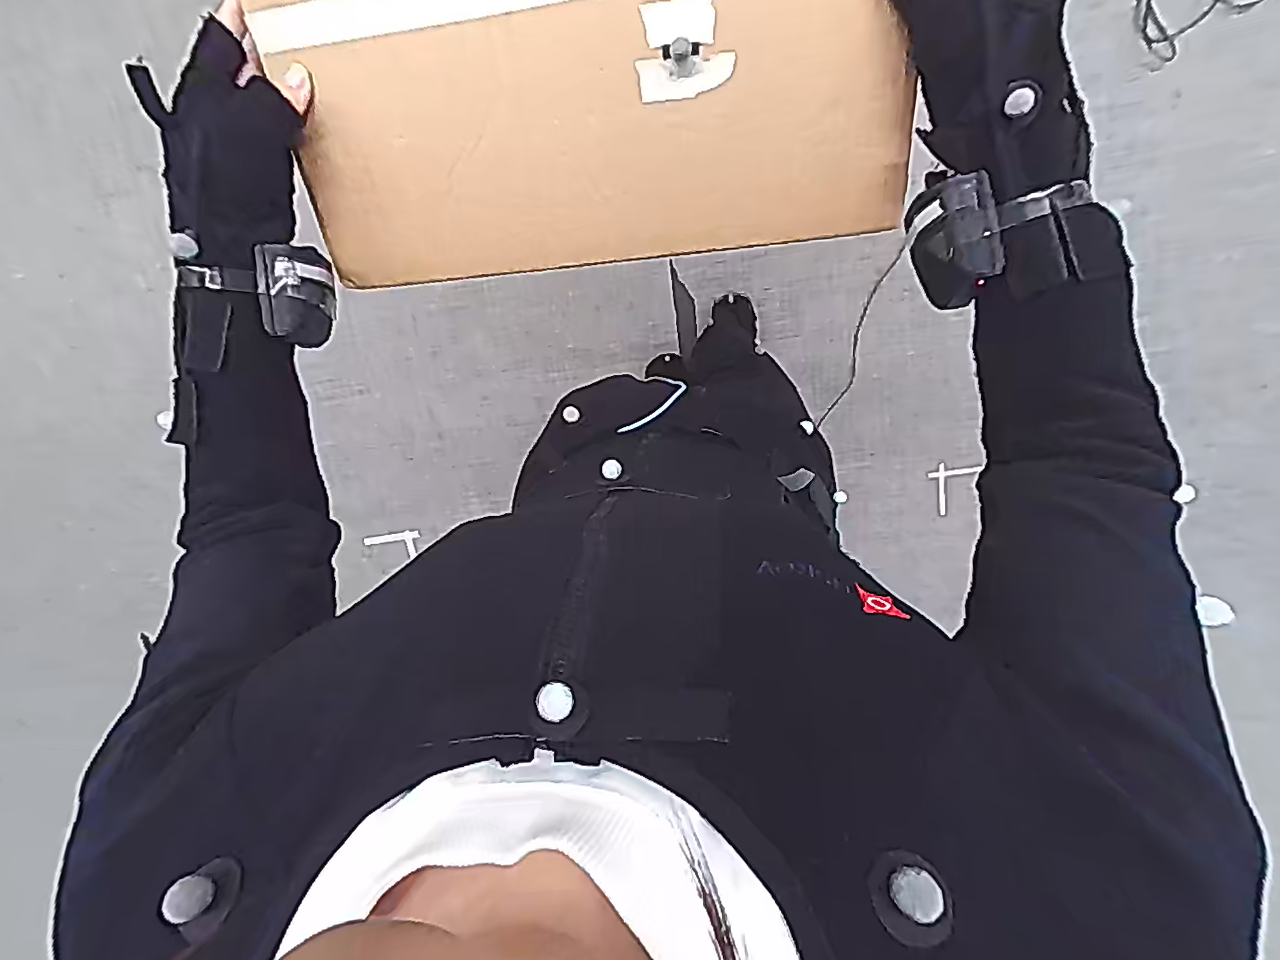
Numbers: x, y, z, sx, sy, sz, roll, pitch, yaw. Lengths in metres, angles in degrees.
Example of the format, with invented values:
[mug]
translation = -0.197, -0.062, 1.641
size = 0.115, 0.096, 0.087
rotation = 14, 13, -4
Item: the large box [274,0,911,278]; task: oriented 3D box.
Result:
[large box]
translation = -0.027, -0.375, 0.460
size = 0.408, 0.320, 0.320
rotation = -4, 118, 8
